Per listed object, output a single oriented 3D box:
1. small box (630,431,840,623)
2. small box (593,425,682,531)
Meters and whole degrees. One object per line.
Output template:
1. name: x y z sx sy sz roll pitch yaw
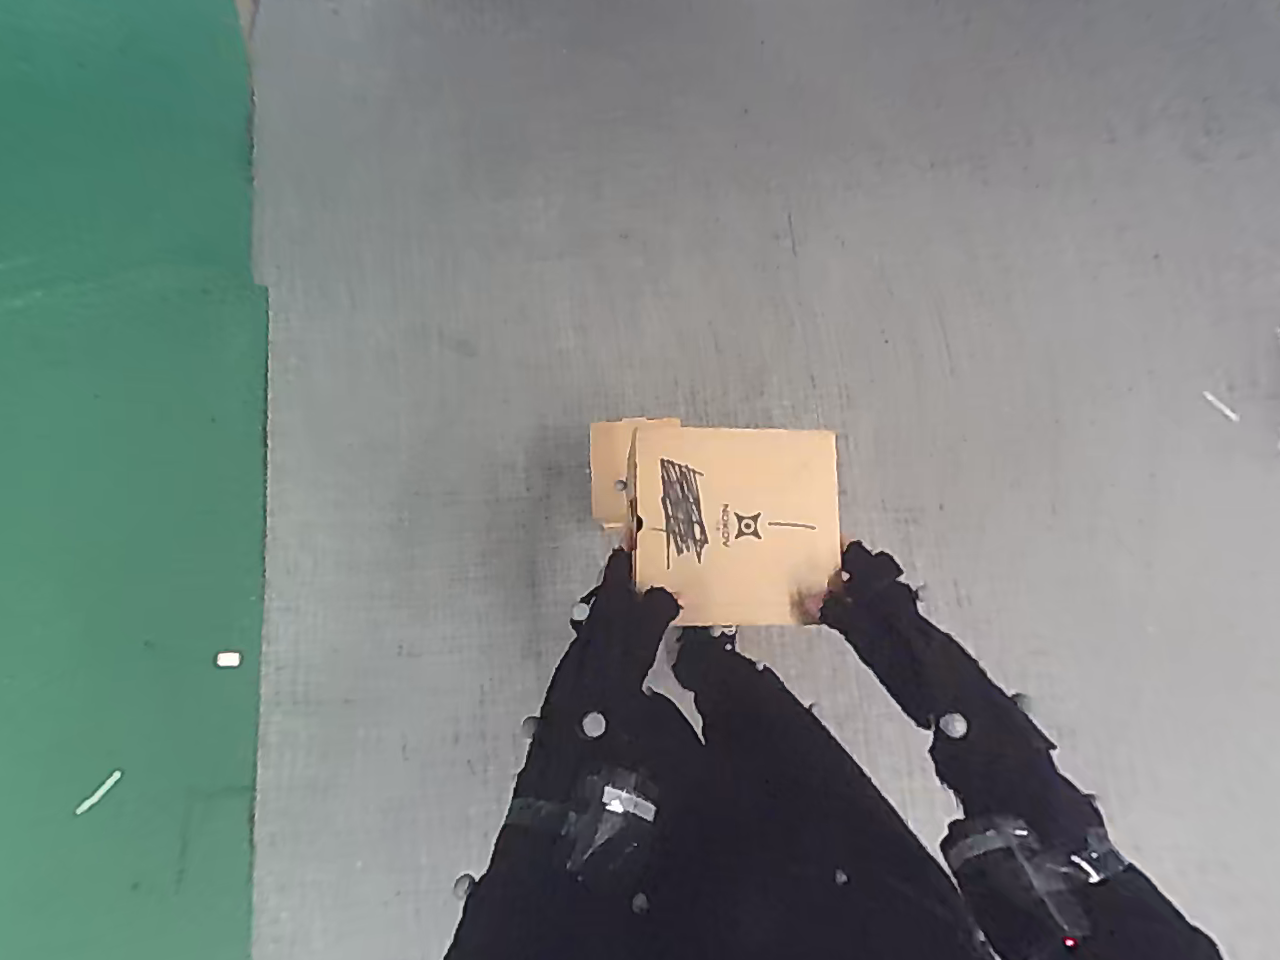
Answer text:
1. small box: 0.079 0.052 0.541 0.179 0.176 0.168 1 81 -3
2. small box: 0.001 0.002 1.045 0.168 0.176 0.179 -4 81 2
